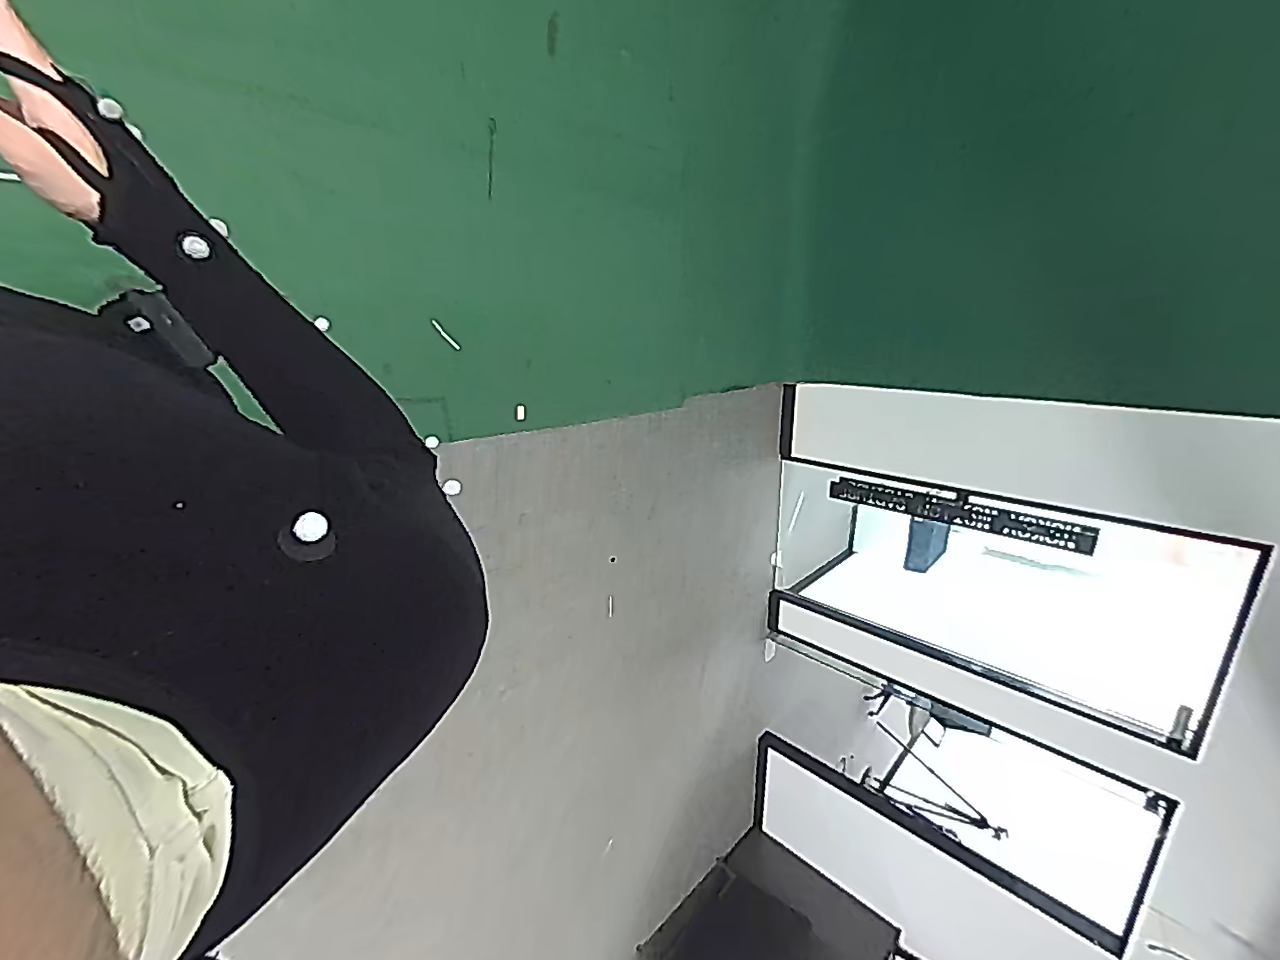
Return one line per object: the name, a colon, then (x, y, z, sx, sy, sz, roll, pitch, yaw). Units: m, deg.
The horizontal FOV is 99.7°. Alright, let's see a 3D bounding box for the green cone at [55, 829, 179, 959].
green cone: (-1.168, 1.027, 1.223, 0.202, 0.368, 0.200, -15, 111, -42)
